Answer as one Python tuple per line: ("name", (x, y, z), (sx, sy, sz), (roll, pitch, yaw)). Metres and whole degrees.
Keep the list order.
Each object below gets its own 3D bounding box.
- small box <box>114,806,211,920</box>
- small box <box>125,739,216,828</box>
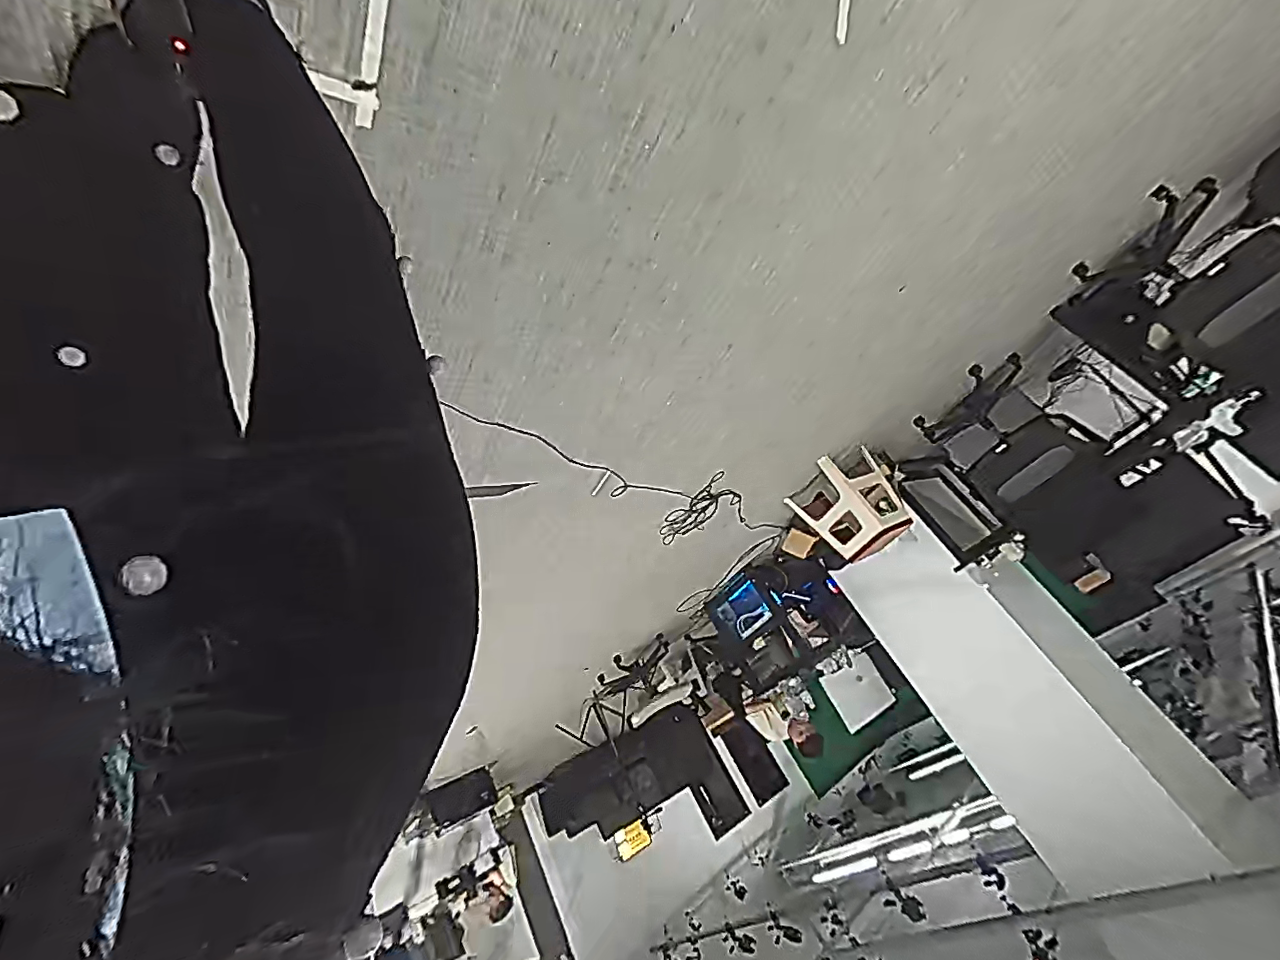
("small box", (-1.191, 0.951, 1.353), (0.168, 0.176, 0.179), (-8, 144, -39))
("small box", (-1.249, 0.824, 1.444), (0.168, 0.176, 0.179), (-8, 145, -38))
